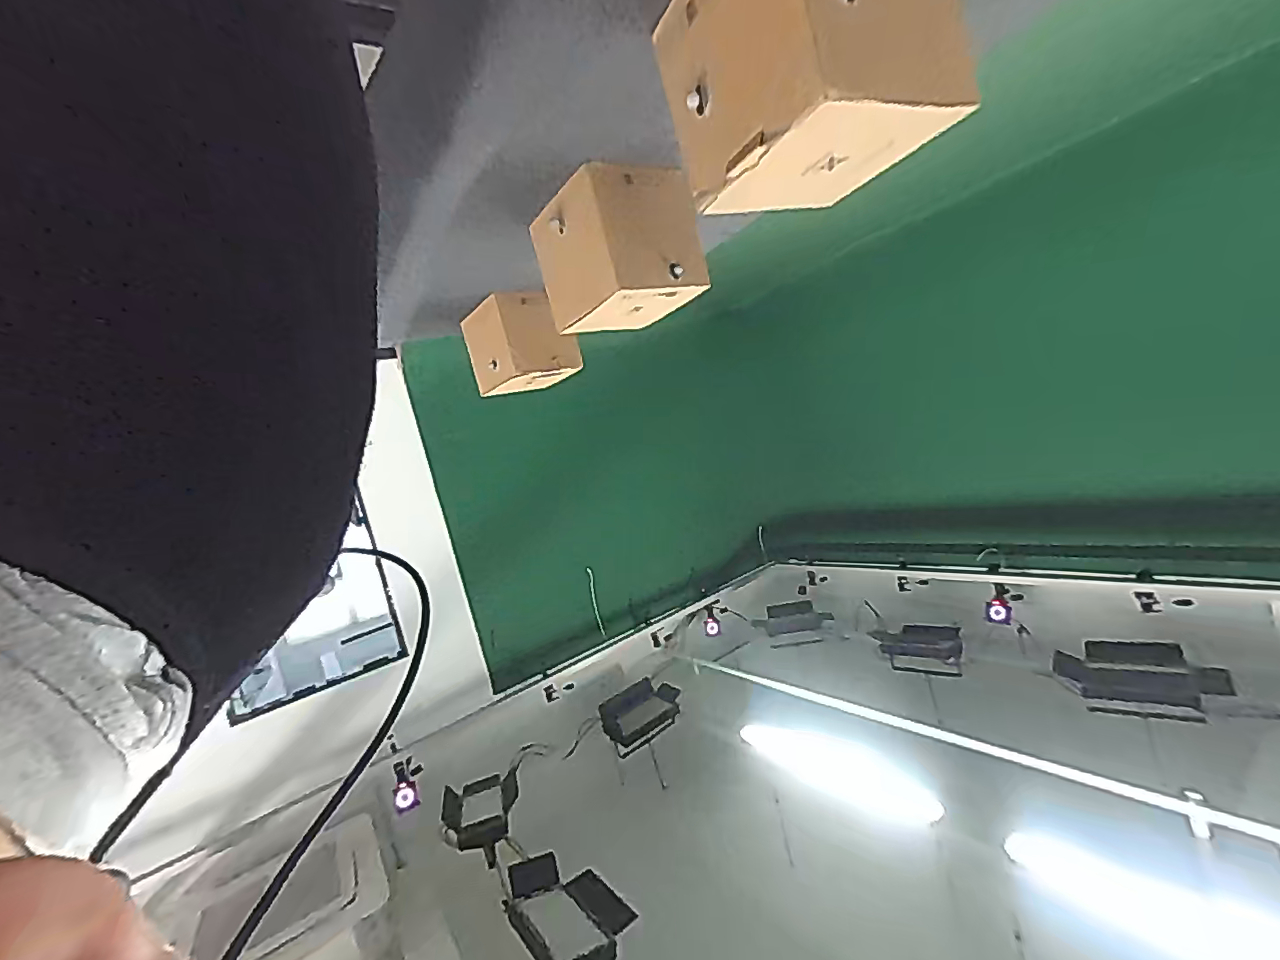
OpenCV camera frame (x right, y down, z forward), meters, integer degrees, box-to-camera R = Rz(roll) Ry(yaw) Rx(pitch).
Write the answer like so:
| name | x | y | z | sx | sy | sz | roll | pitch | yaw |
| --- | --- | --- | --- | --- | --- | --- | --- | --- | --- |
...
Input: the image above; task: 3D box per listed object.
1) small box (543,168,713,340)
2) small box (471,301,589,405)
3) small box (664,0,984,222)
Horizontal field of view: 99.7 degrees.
| name | x | y | z | sx | sy | sz | roll | pitch | yaw |
| --- | --- | --- | --- | --- | --- | --- | --- | --- | --- |
| small box | -0.025 | -0.317 | 0.784 | 0.168 | 0.176 | 0.179 | -18 | -175 | -35 |
| small box | -0.240 | -0.274 | 1.157 | 0.168 | 0.176 | 0.179 | -18 | -176 | -39 |
| small box | 0.142 | -0.347 | 0.456 | 0.179 | 0.176 | 0.168 | -19 | -174 | -24 |
